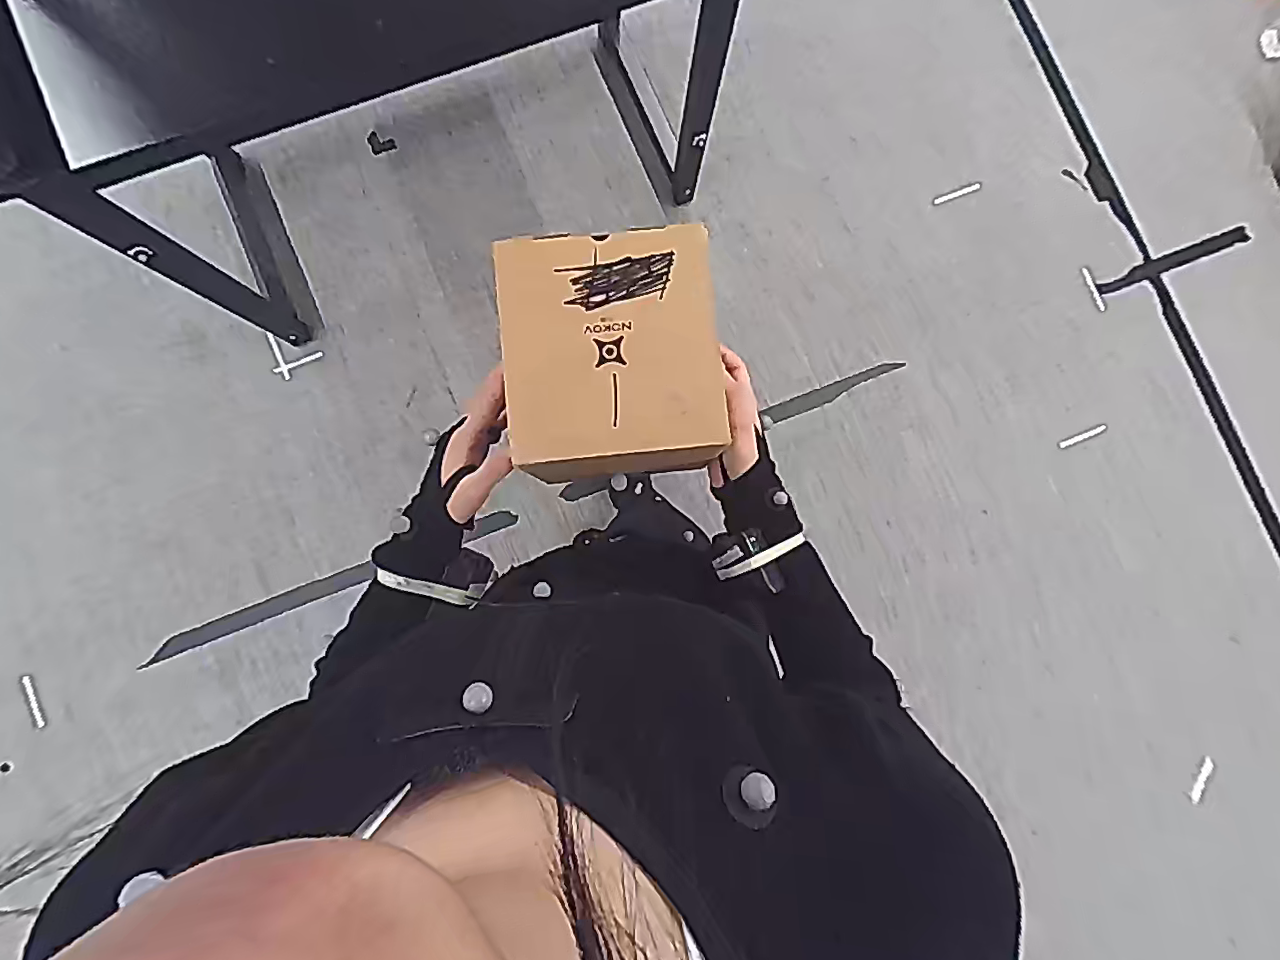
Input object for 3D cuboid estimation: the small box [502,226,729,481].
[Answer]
[{"bbox_3d":[-0.022,-0.099,0.492,0.168,0.176,0.179,-5,85,-1],"label":"small box"}]
